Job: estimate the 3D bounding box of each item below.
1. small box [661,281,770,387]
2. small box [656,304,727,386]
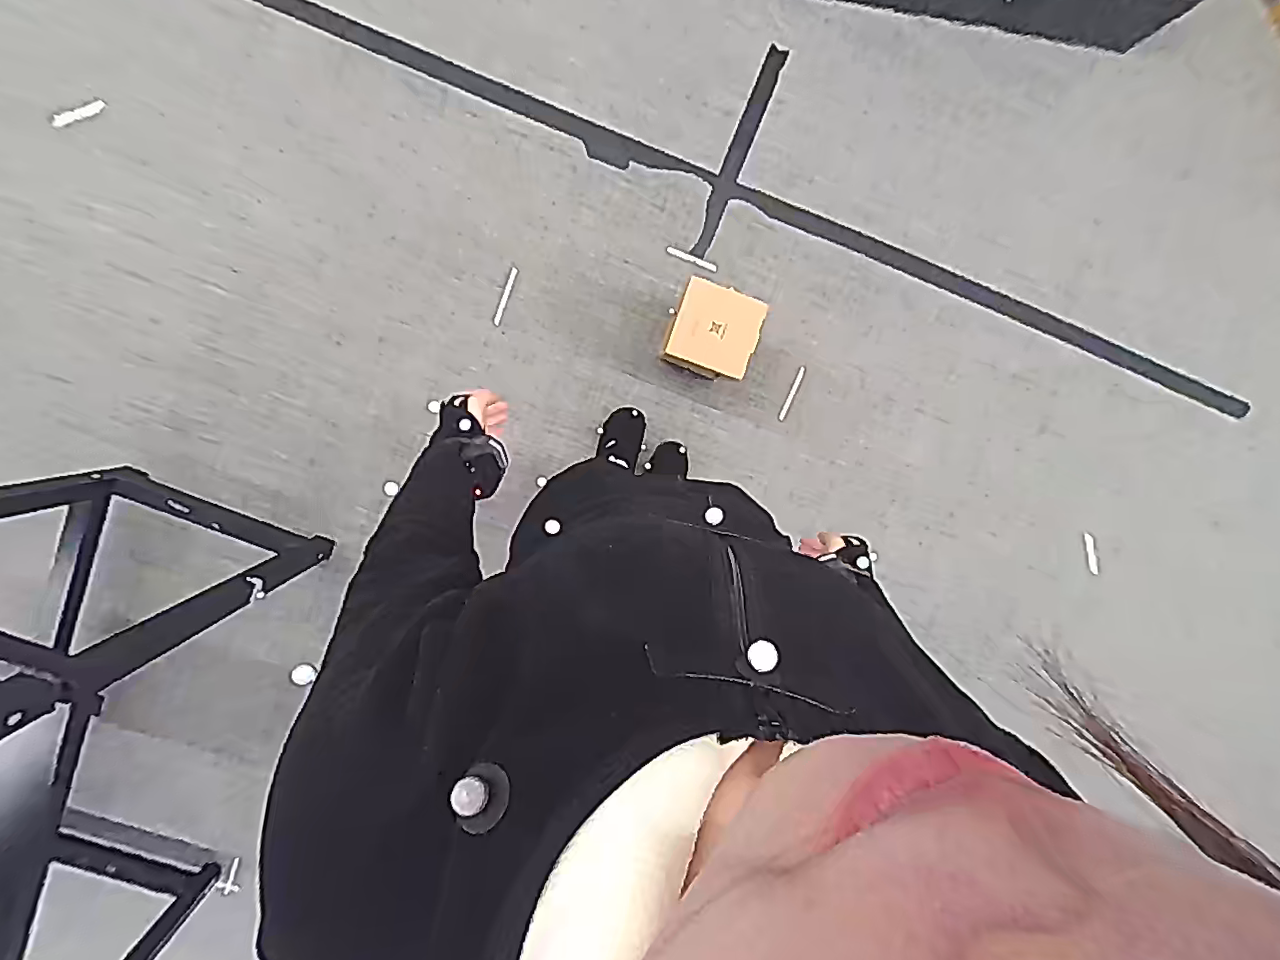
[{"bbox_3d":[0.155,-0.313,1.185,0.179,0.176,0.168,20,98,-5],"label":"small box"},{"bbox_3d":[0.152,-0.344,1.346,0.179,0.176,0.168,21,98,-6],"label":"small box"}]
